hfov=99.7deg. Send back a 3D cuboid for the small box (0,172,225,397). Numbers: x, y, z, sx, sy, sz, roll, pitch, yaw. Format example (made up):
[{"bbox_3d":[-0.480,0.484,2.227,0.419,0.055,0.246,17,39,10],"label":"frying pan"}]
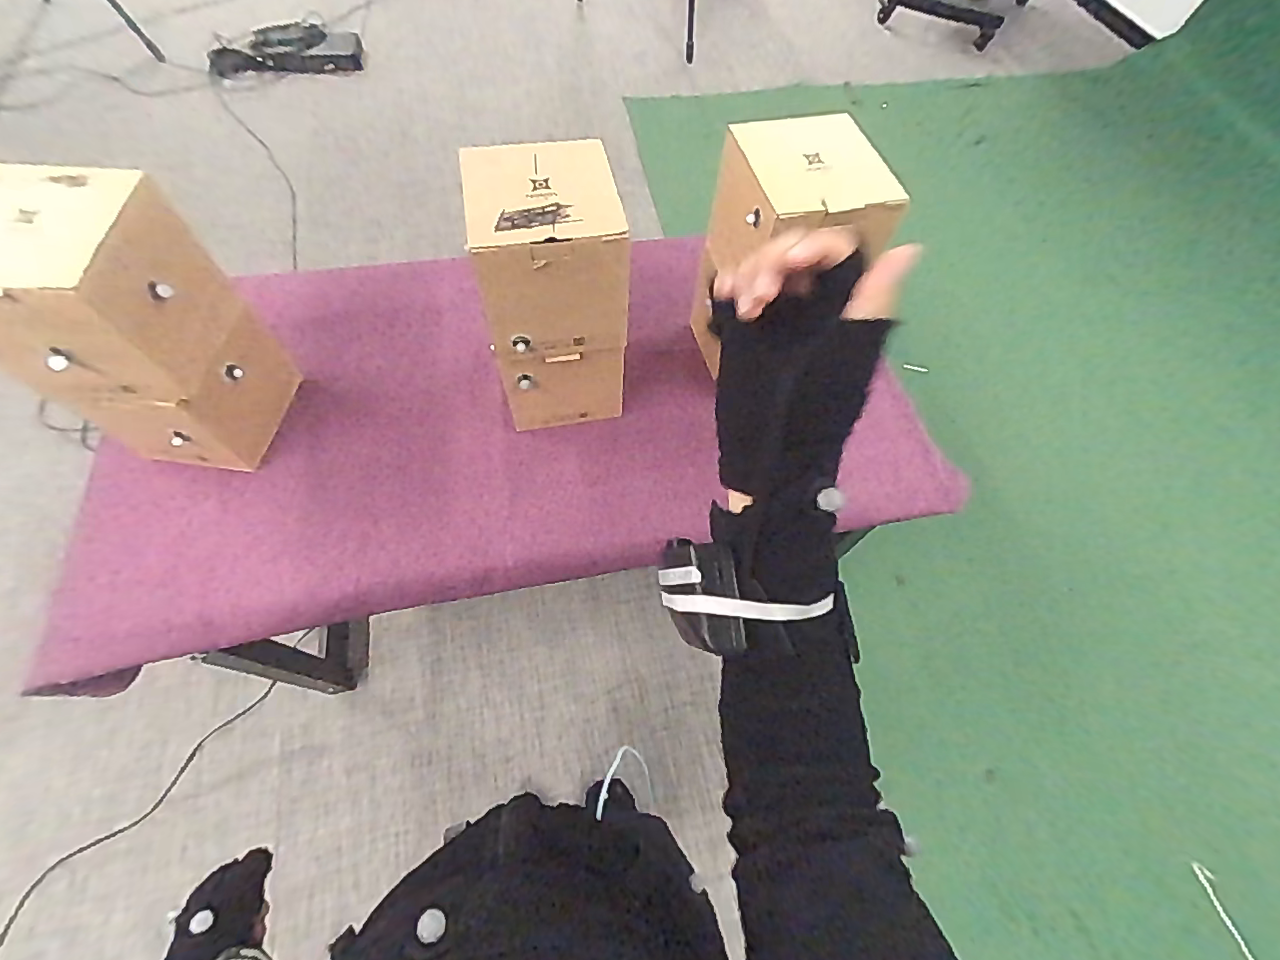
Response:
[{"bbox_3d":[-0.595,-0.202,0.589,0.168,0.176,0.179,-3,62,-6],"label":"small box"}]

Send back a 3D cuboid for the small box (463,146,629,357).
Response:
[{"bbox_3d":[-0.109,-0.266,0.654,0.168,0.176,0.179,-9,61,-9],"label":"small box"}]

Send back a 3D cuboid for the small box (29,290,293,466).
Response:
[{"bbox_3d":[-0.606,-0.137,0.718,0.168,0.176,0.179,8,61,0],"label":"small box"}]

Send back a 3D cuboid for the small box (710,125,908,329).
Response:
[{"bbox_3d":[0.204,-0.329,0.712,0.168,0.176,0.179,-11,64,-10],"label":"small box"}]

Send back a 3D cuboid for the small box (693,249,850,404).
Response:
[{"bbox_3d":[0.191,-0.248,0.853,0.168,0.176,0.179,-12,64,-9],"label":"small box"}]
